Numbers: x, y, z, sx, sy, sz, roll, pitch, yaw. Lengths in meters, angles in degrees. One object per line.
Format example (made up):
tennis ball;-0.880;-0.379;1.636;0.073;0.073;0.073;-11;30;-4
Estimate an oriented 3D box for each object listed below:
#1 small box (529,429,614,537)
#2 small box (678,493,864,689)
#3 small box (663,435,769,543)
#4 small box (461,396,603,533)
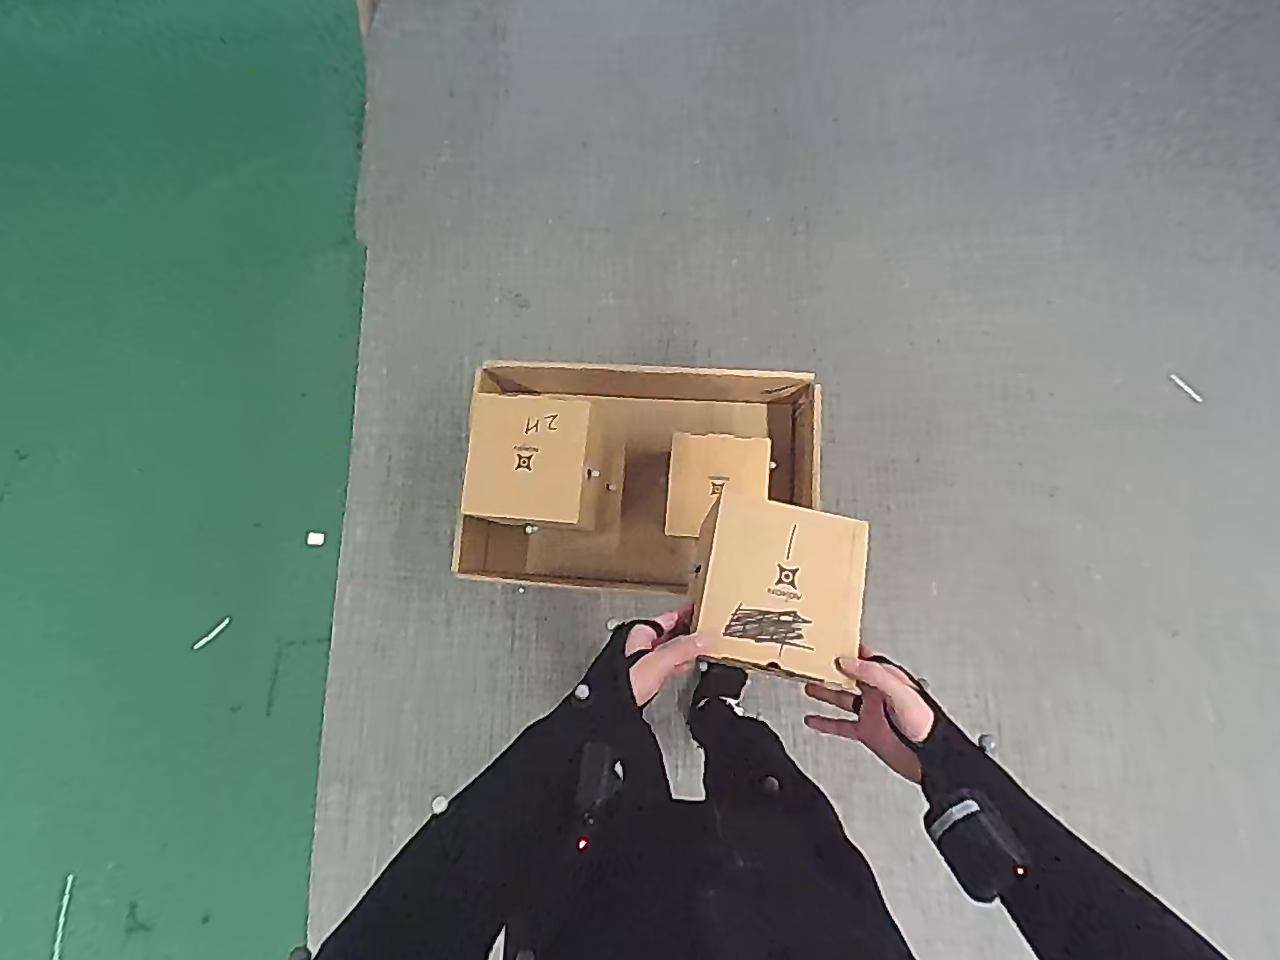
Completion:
small box;-0.144;0.004;0.990;0.168;0.176;0.179;6;80;6
small box;0.144;0.135;0.641;0.168;0.176;0.179;13;72;2
small box;0.133;0.027;0.969;0.168;0.176;0.179;4;81;5
small box;-0.153;-0.015;0.827;0.168;0.176;0.179;5;81;4
